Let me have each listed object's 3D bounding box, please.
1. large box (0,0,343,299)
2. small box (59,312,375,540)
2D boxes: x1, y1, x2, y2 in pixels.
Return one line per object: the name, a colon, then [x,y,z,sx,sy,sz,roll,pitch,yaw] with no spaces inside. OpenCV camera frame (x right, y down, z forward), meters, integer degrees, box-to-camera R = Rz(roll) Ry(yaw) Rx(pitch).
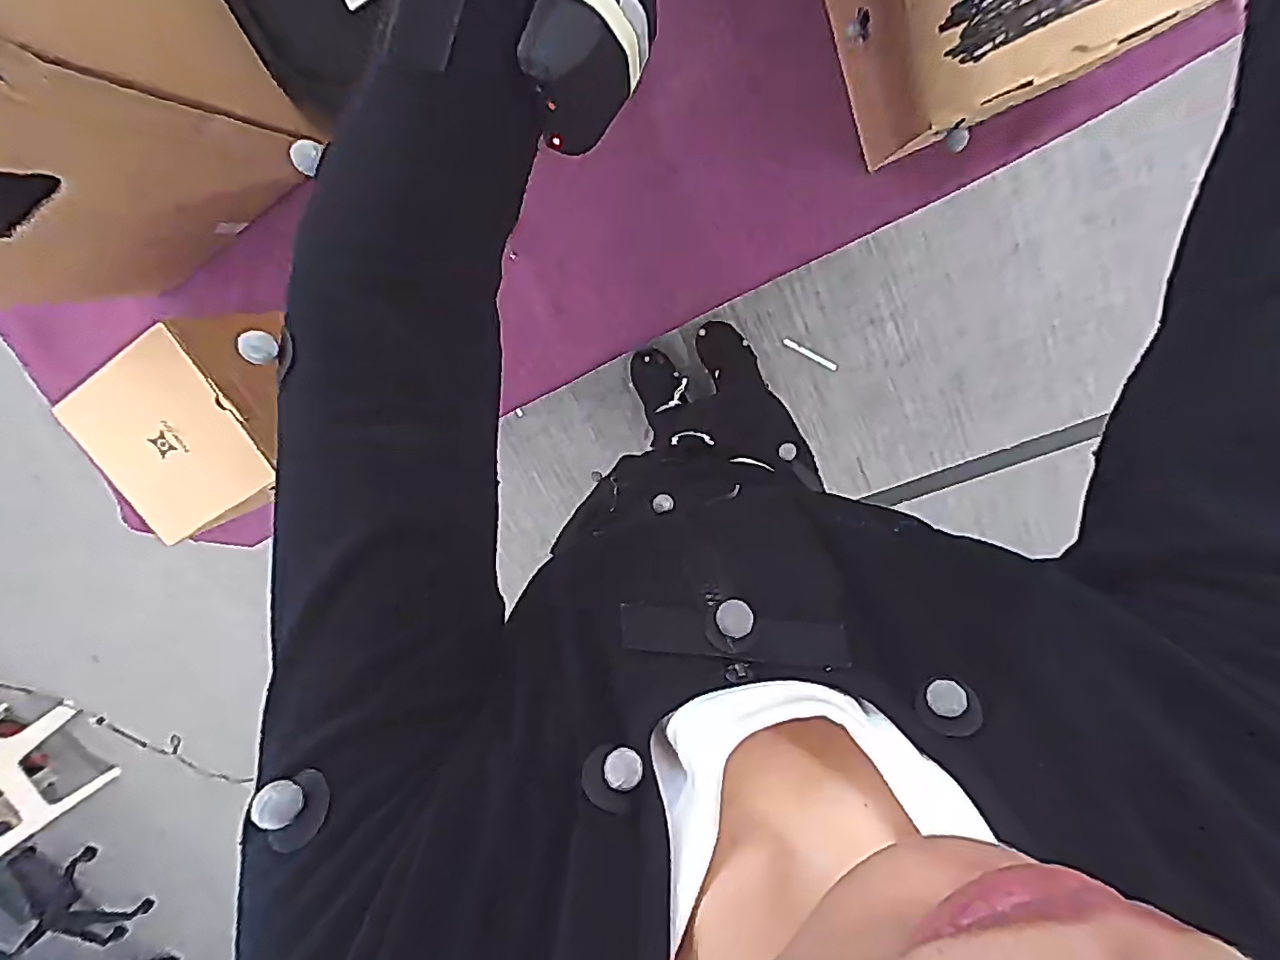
large box: [-0.540,-0.392,0.402,0.320,0.320,0.408,-25,108,17]
small box: [-0.438,-0.066,0.589,0.179,0.176,0.168,-27,104,16]
